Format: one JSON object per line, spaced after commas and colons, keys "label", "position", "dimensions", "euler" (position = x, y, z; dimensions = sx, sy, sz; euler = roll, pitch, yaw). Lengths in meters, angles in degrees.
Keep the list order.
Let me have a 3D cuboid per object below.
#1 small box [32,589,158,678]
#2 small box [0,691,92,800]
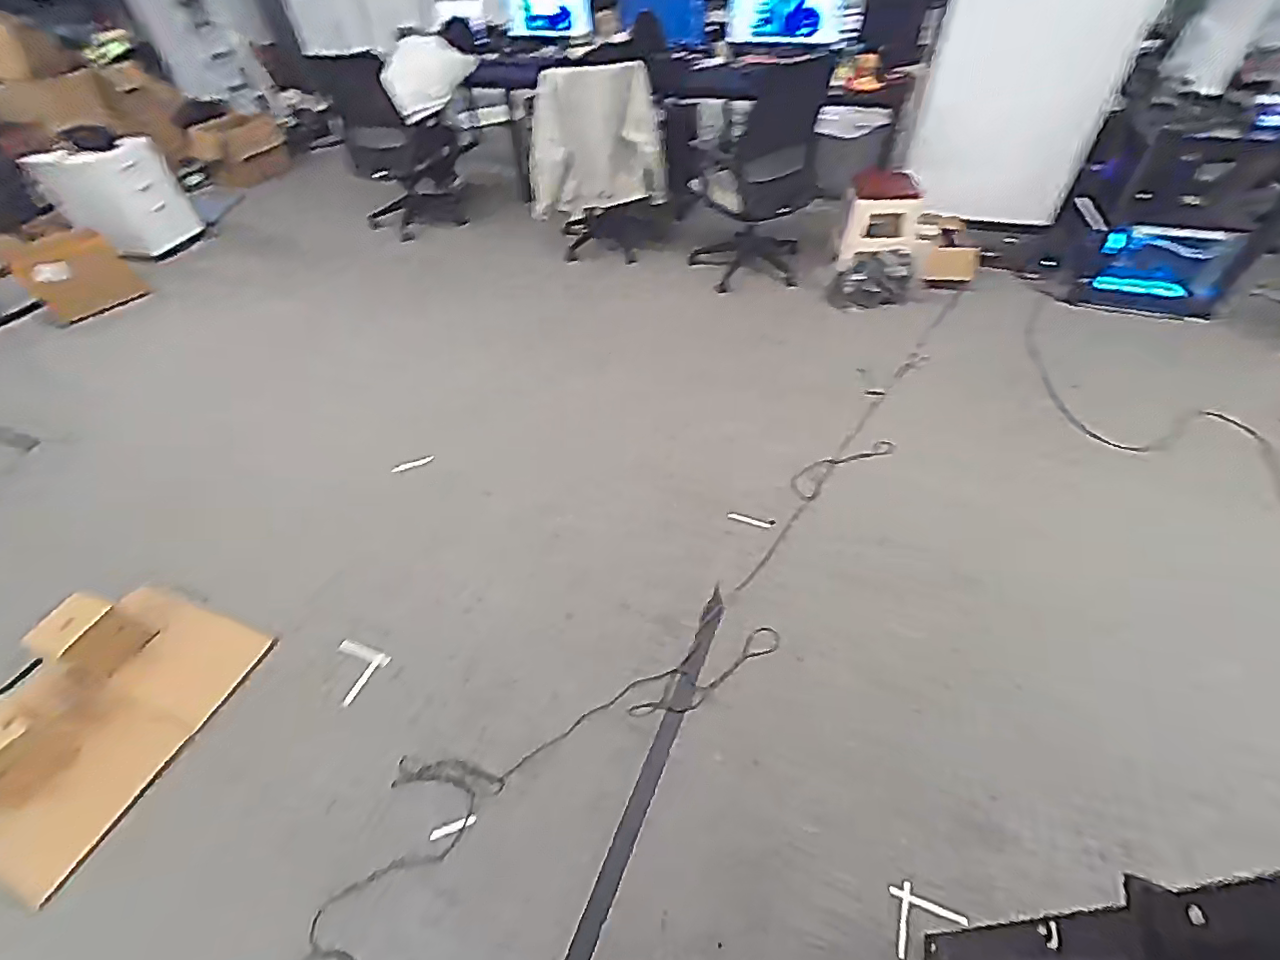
{"label": "small box", "position": [-1.600, 0.456, 1.607], "dimensions": [0.168, 0.176, 0.179], "euler": [11, 49, 15]}
{"label": "small box", "position": [-1.601, 0.687, 1.392], "dimensions": [0.168, 0.176, 0.179], "euler": [23, 55, 22]}
